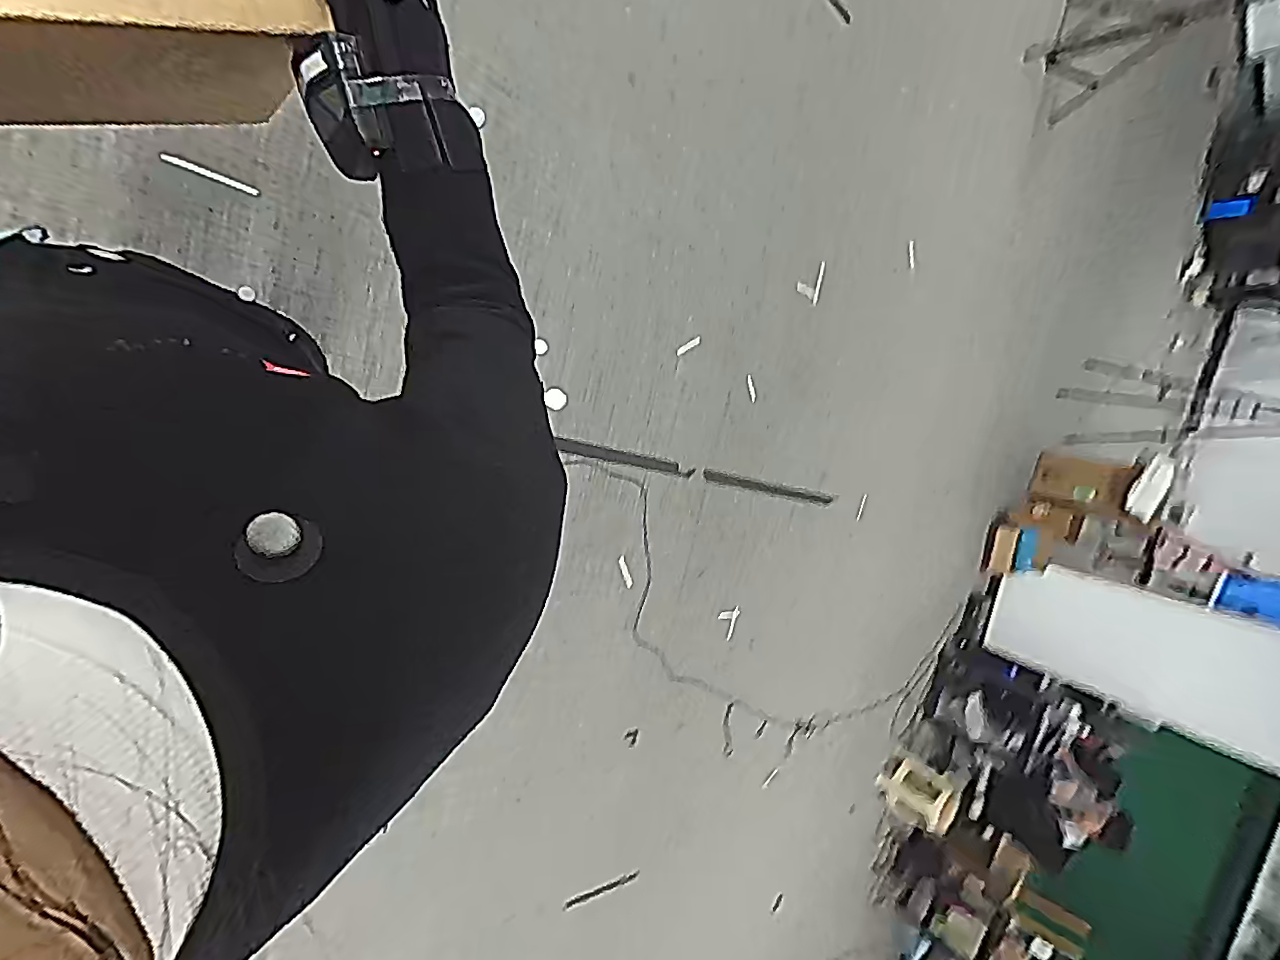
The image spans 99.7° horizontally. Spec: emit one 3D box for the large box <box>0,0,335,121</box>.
[{"bbox_3d":[-0.446,-0.377,0.261,0.408,0.320,0.320,-25,125,-33],"label":"large box"}]
